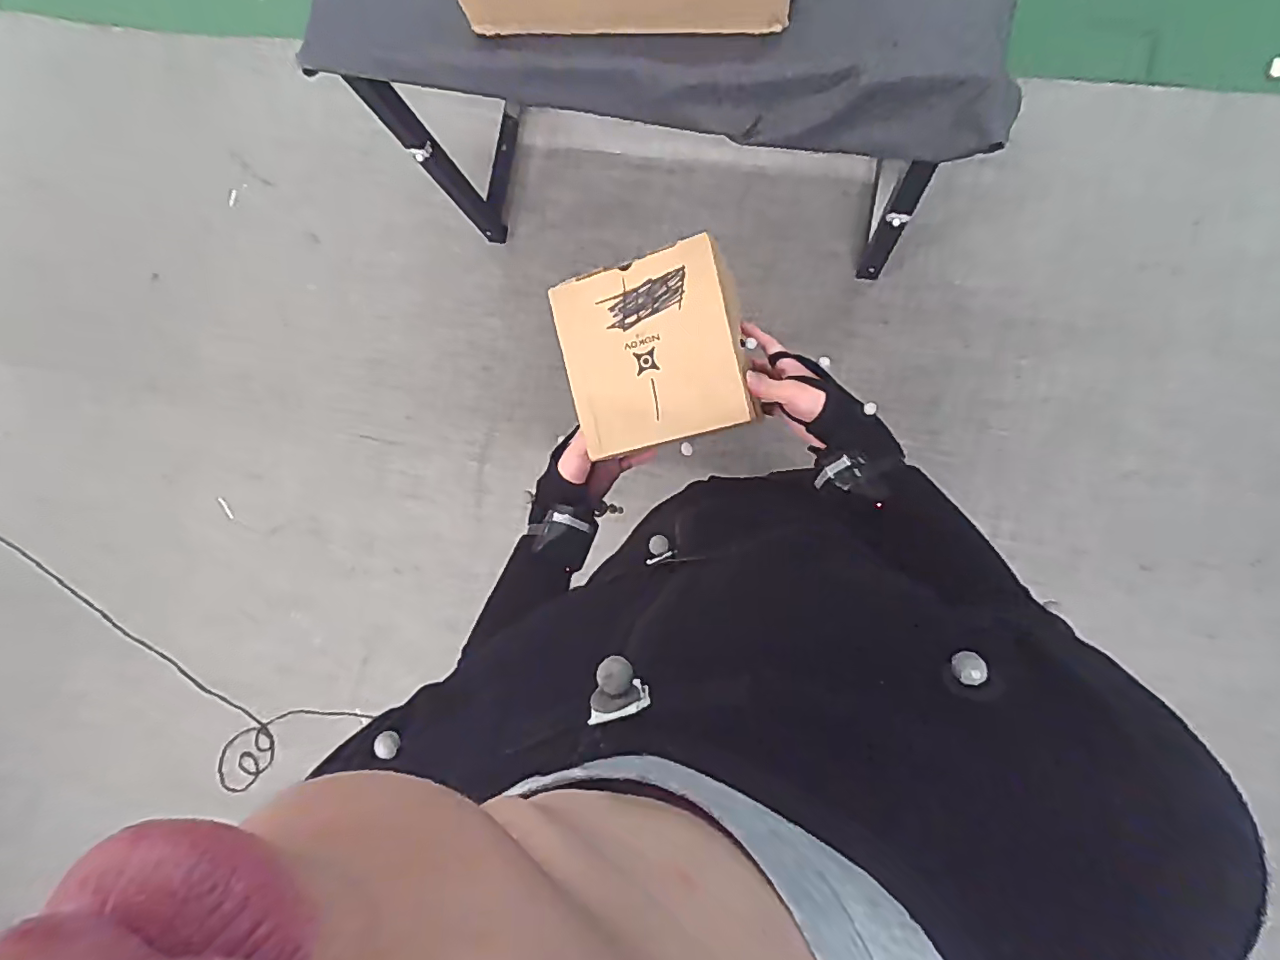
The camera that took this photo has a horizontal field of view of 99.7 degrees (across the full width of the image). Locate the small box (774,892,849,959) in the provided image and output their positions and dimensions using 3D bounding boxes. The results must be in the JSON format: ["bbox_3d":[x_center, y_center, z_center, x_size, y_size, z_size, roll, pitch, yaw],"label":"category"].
[{"bbox_3d":[0.423,1.174,1.346,0.168,0.176,0.179,-2,87,12],"label":"small box"}]
